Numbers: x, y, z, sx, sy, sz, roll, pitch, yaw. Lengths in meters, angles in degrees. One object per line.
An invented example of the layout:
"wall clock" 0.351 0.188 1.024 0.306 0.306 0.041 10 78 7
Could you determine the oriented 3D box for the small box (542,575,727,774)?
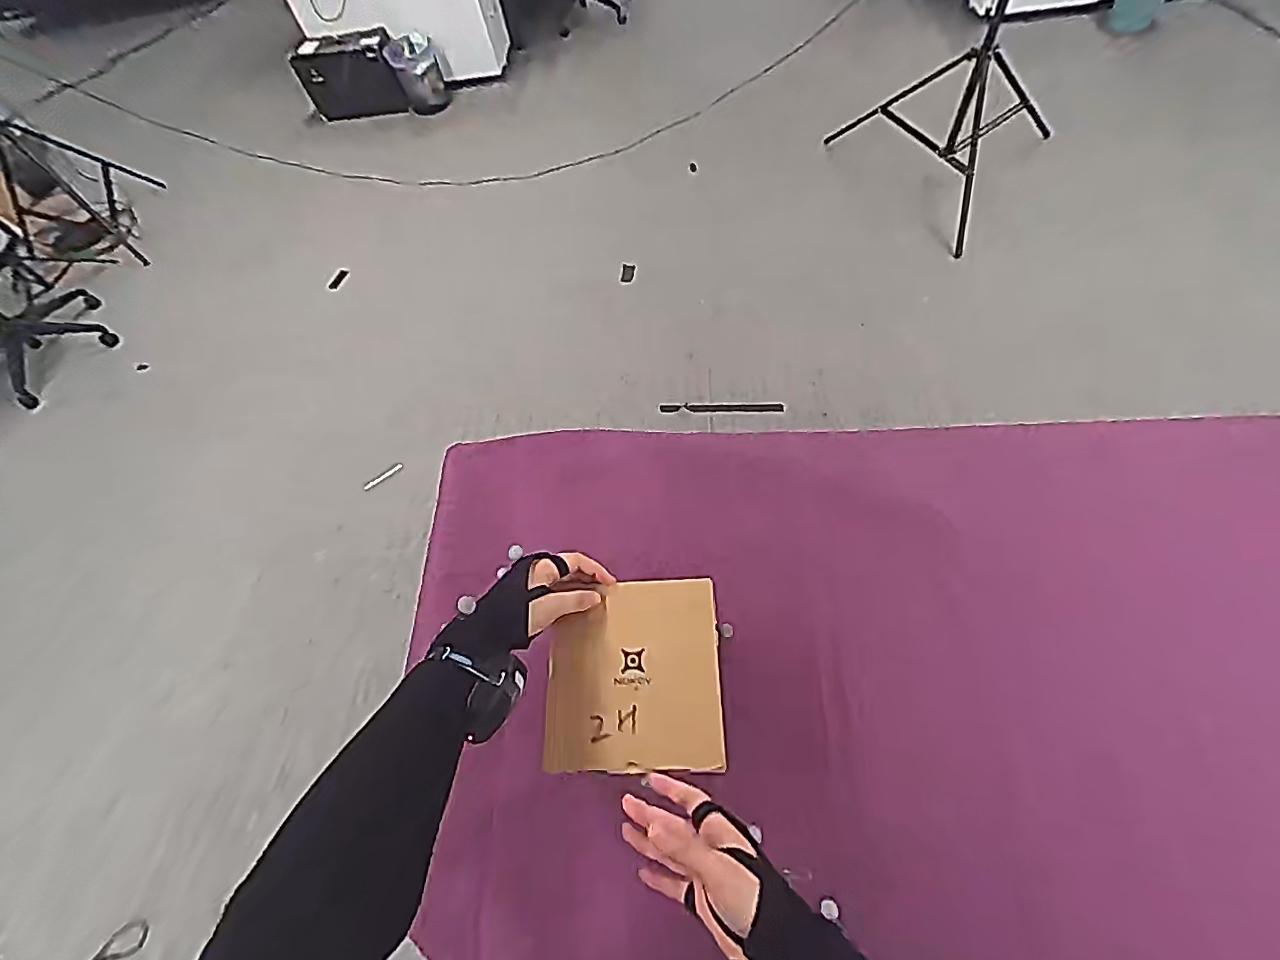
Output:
"small box" 0.007 0.213 0.582 0.168 0.176 0.179 -3 61 9
